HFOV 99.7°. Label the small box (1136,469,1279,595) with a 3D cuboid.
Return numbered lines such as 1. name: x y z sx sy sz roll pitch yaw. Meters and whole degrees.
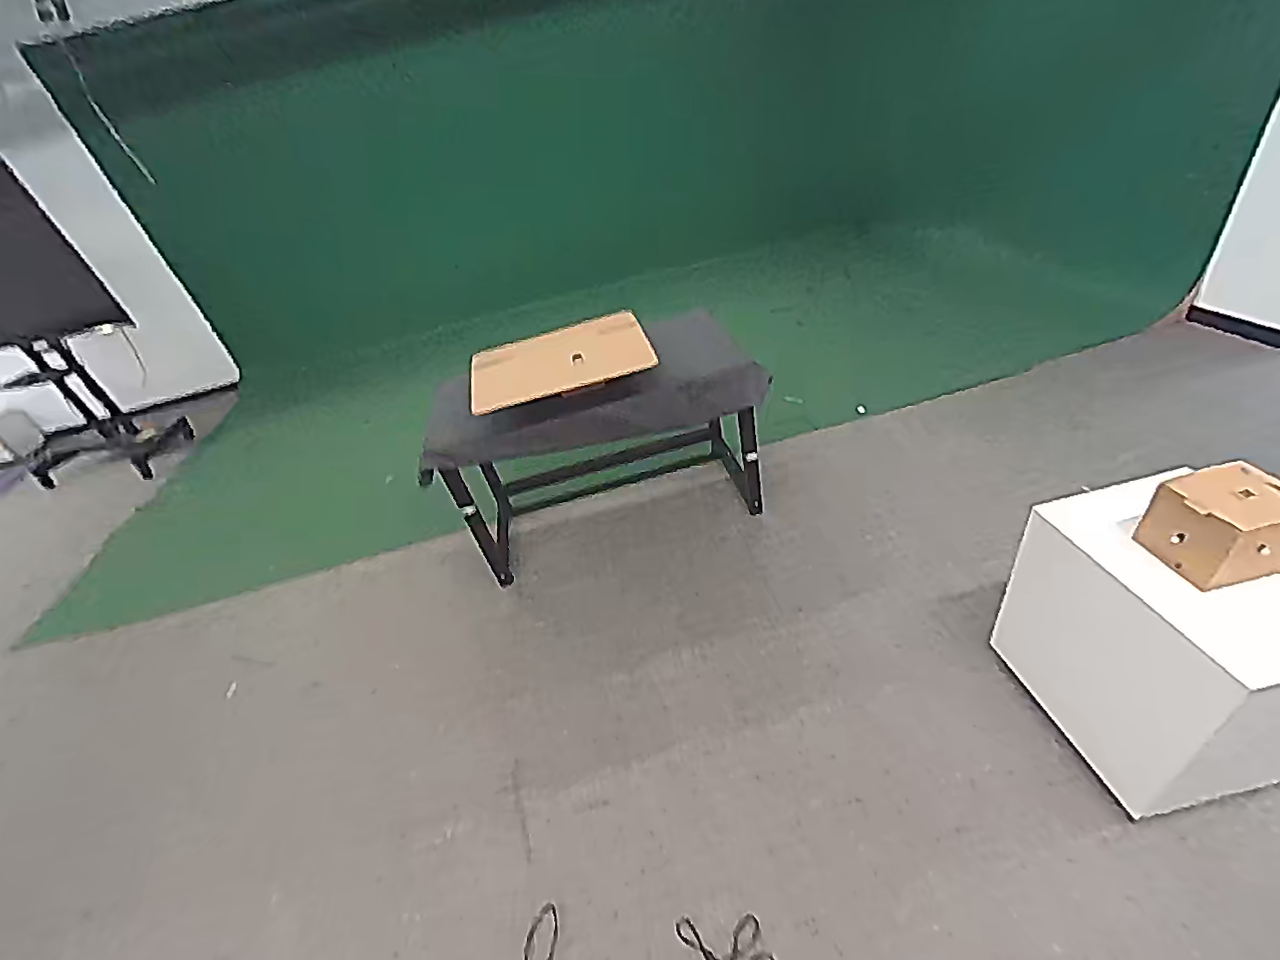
1. small box: 1.163 0.108 1.092 0.179 0.176 0.168 -15 36 -3
